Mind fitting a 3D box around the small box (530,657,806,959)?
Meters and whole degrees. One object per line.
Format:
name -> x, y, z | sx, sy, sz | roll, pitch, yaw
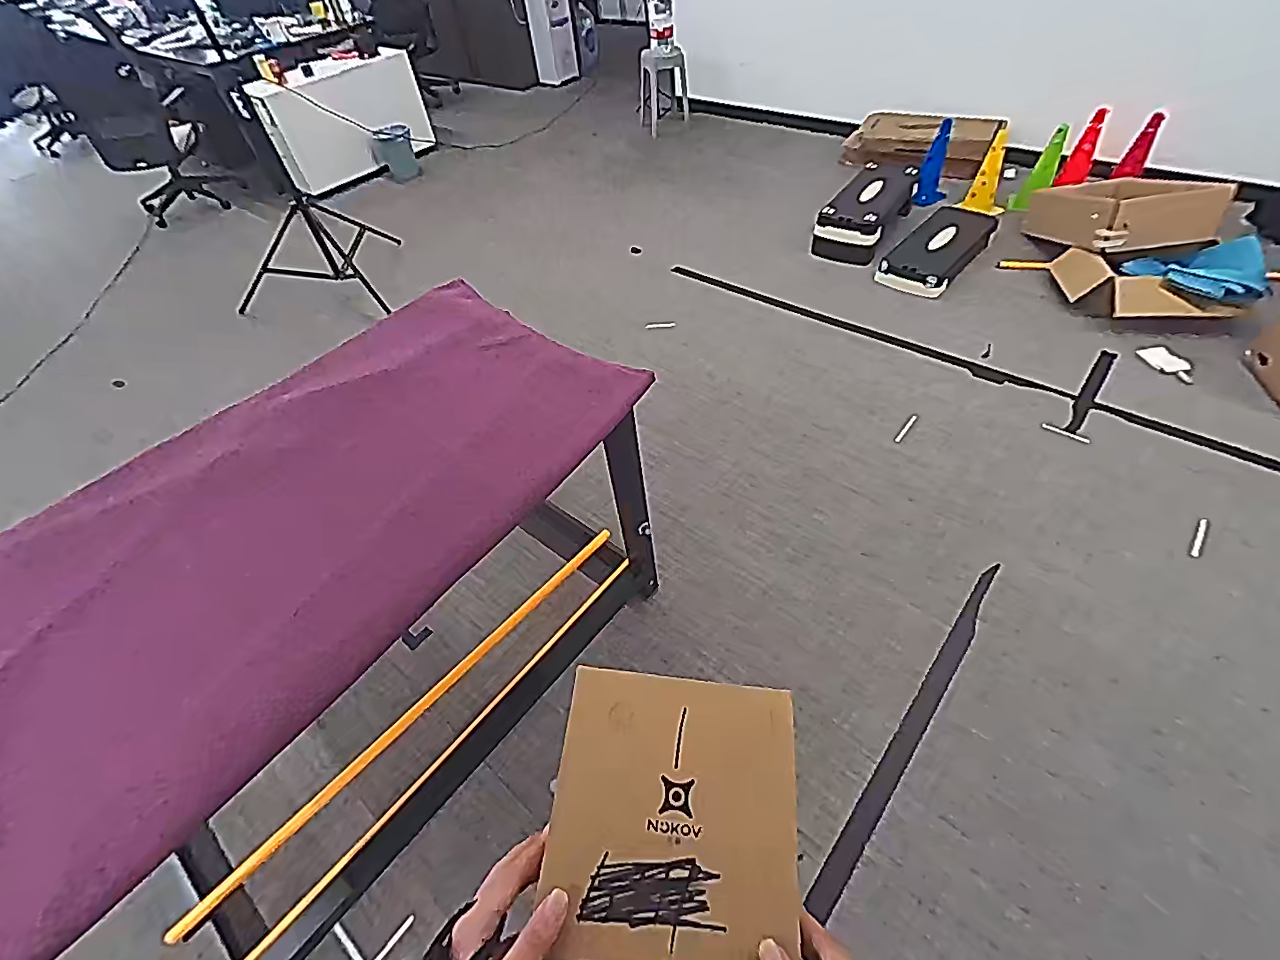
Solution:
small box -> 0.027, 0.258, 0.424 | 0.168, 0.176, 0.179 | 5, 56, 4
